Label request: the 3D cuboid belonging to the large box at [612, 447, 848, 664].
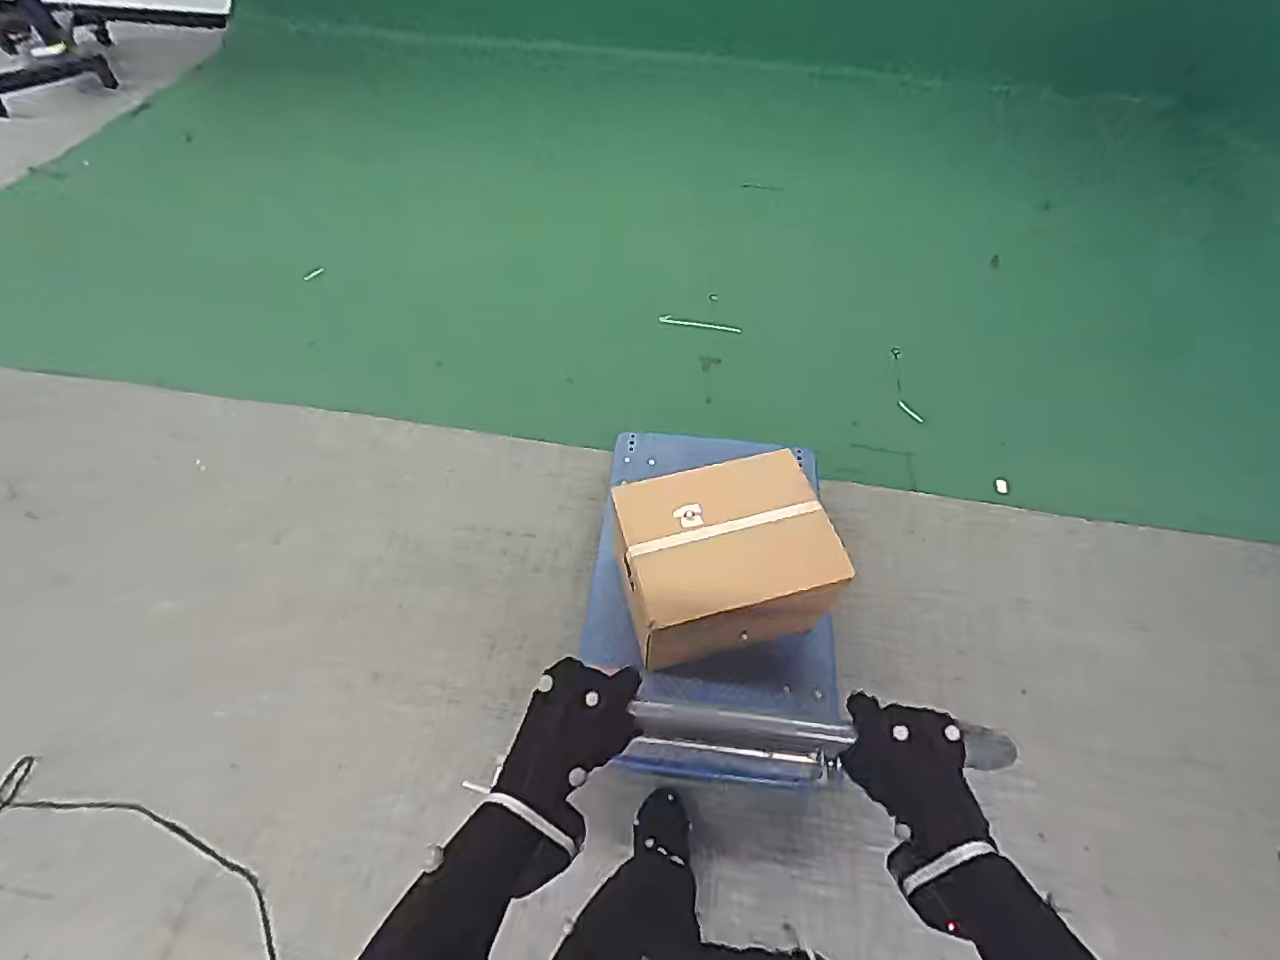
[{"bbox_3d":[0.173,0.176,1.208,0.408,0.320,0.320,-14,57,-8],"label":"large box"}]
